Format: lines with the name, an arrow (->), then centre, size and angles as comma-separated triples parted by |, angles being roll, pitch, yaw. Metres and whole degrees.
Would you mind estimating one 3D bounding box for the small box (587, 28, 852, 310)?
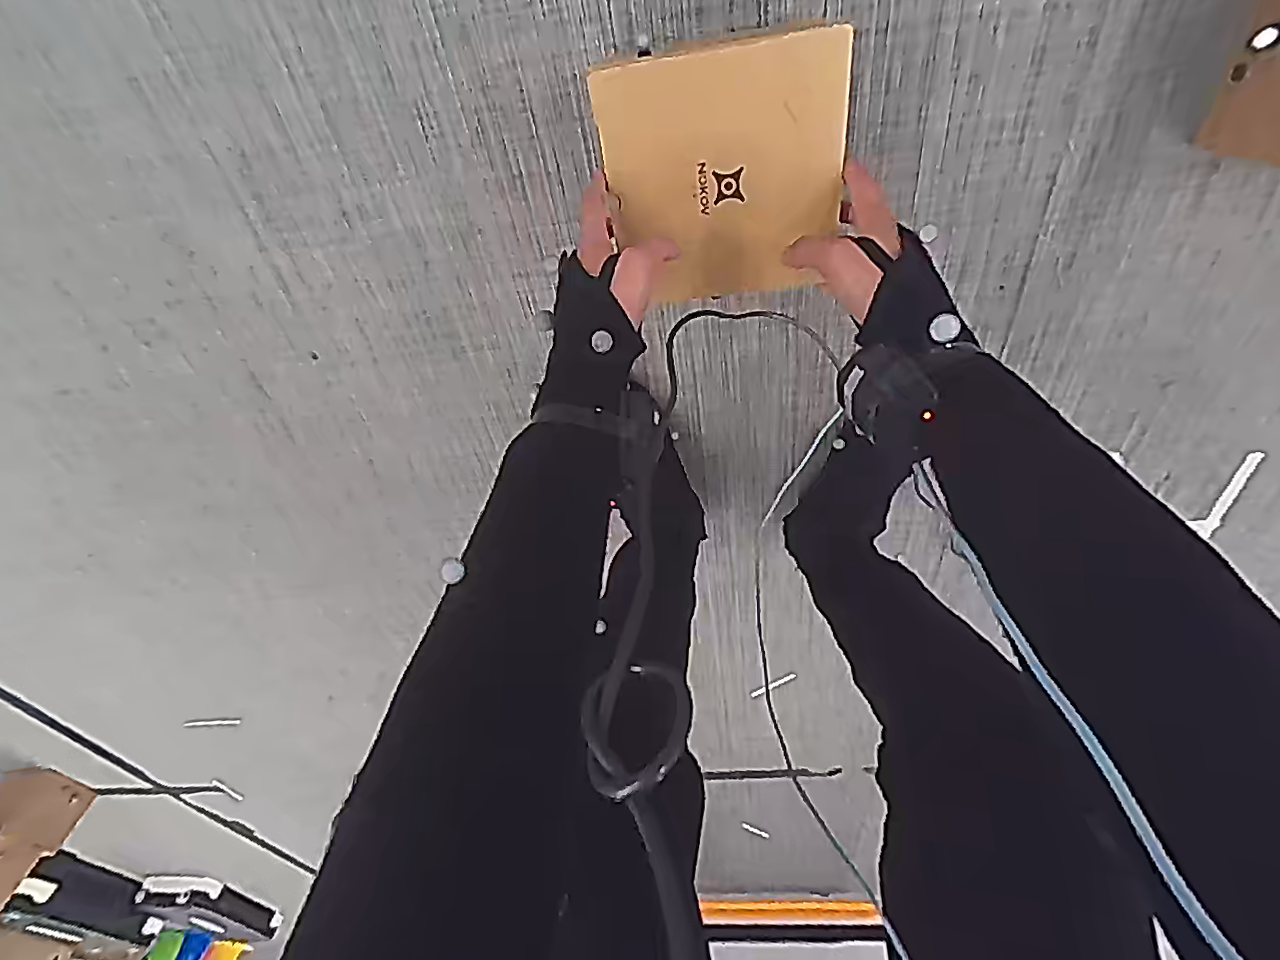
small box -> 0.063, -0.265, 0.460 | 0.179, 0.176, 0.168 | -4, 130, 8
